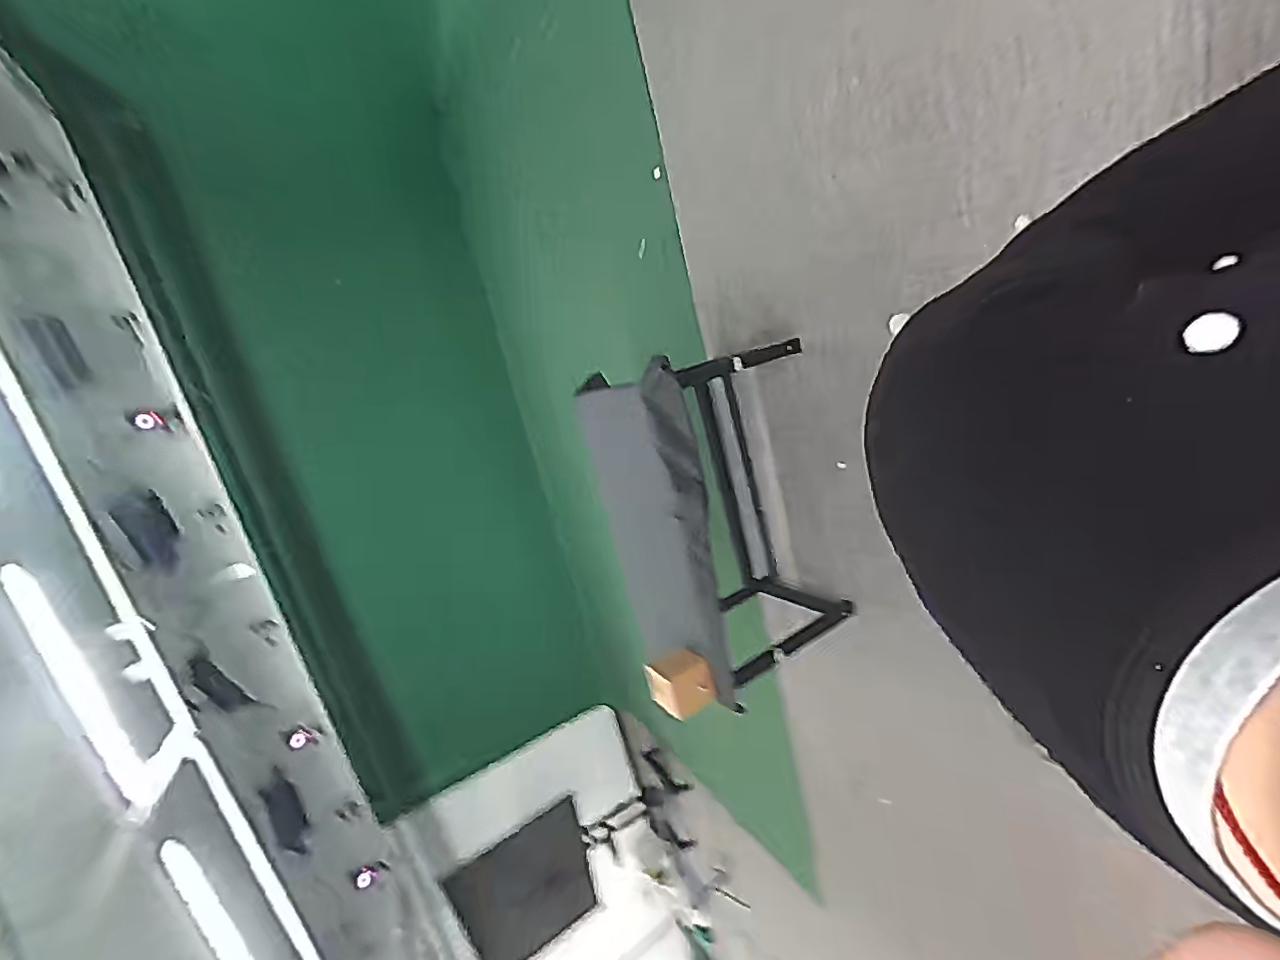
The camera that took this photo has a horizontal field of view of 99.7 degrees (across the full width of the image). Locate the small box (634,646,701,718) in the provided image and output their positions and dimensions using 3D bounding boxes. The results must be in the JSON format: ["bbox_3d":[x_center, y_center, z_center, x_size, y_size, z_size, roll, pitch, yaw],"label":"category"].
[{"bbox_3d":[0.105,0.748,2.027,0.179,0.176,0.168,8,115,60],"label":"small box"}]
